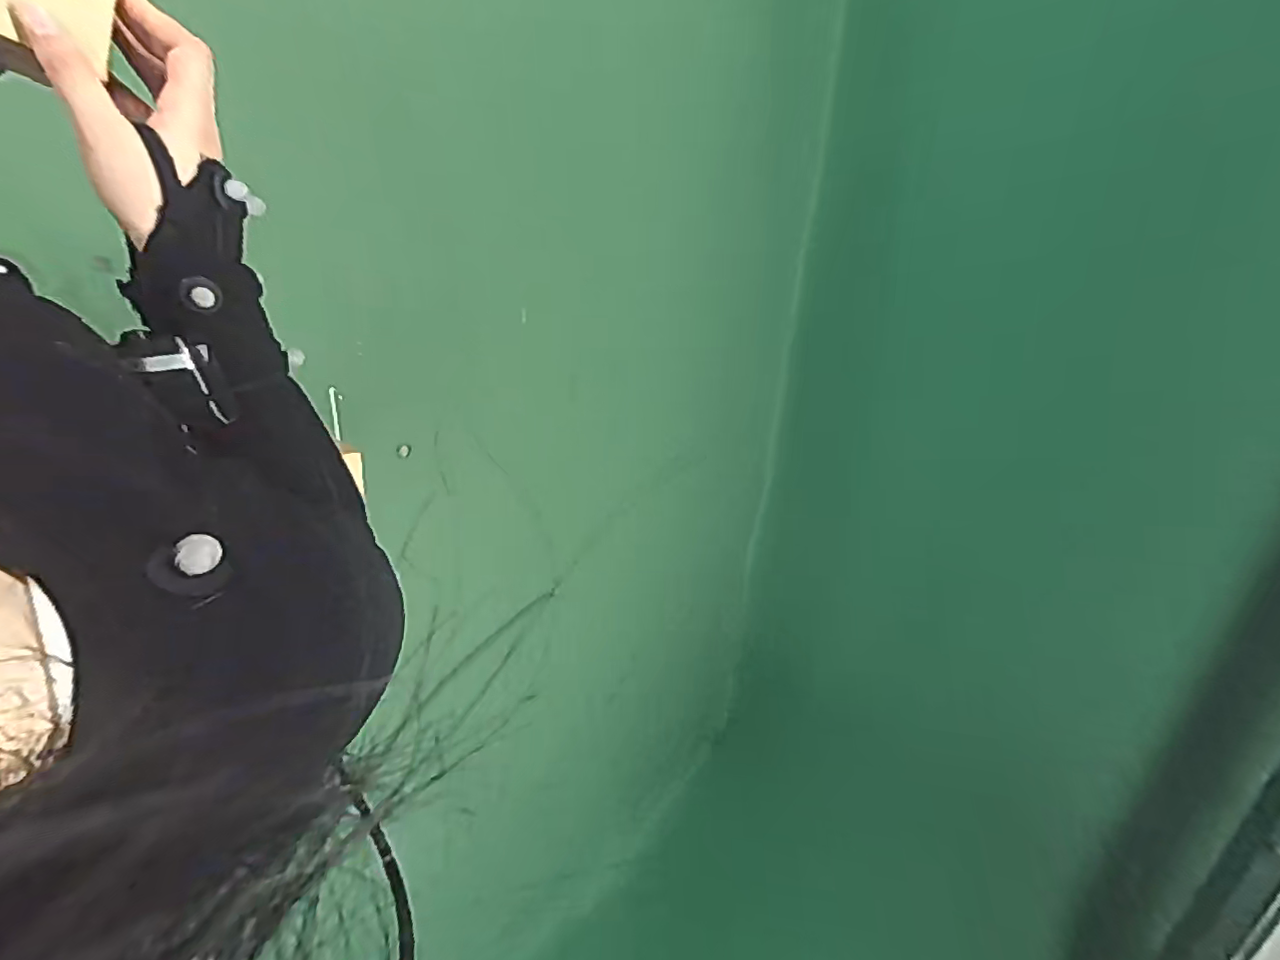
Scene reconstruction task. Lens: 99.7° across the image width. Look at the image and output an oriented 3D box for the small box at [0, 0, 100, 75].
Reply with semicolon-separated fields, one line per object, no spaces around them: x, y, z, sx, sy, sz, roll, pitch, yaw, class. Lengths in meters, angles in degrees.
-0.382;-0.331;0.259;0.179;0.176;0.168;5;108;-49;small box
